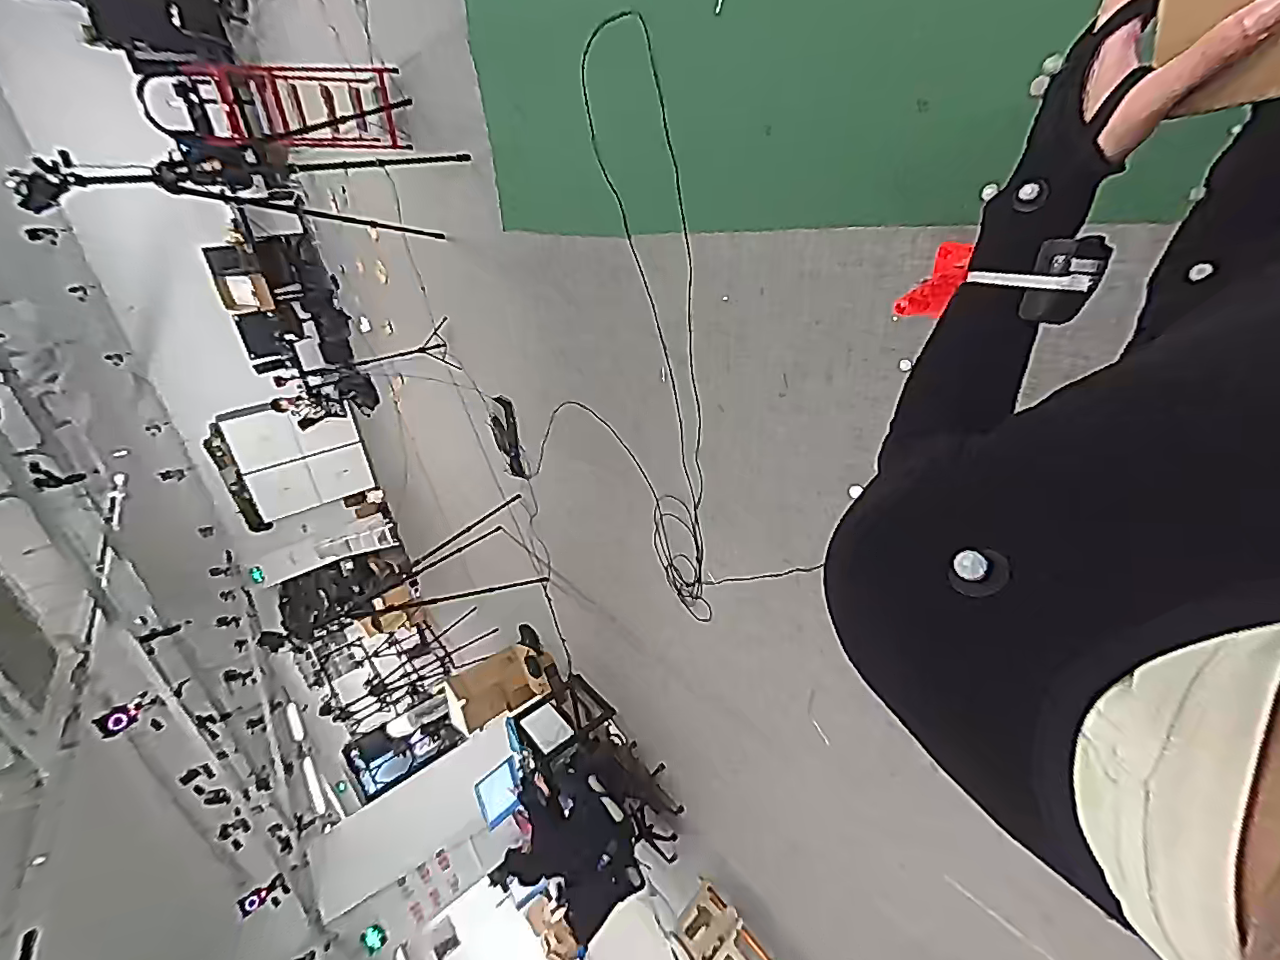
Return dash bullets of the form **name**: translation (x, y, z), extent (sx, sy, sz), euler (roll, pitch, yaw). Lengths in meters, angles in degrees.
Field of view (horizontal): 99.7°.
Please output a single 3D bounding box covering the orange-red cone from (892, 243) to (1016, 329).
- **orange-red cone**: translation (0.745, -0.467, 1.366), extent (0.199, 0.360, 0.198), euler (35, 135, 41)
